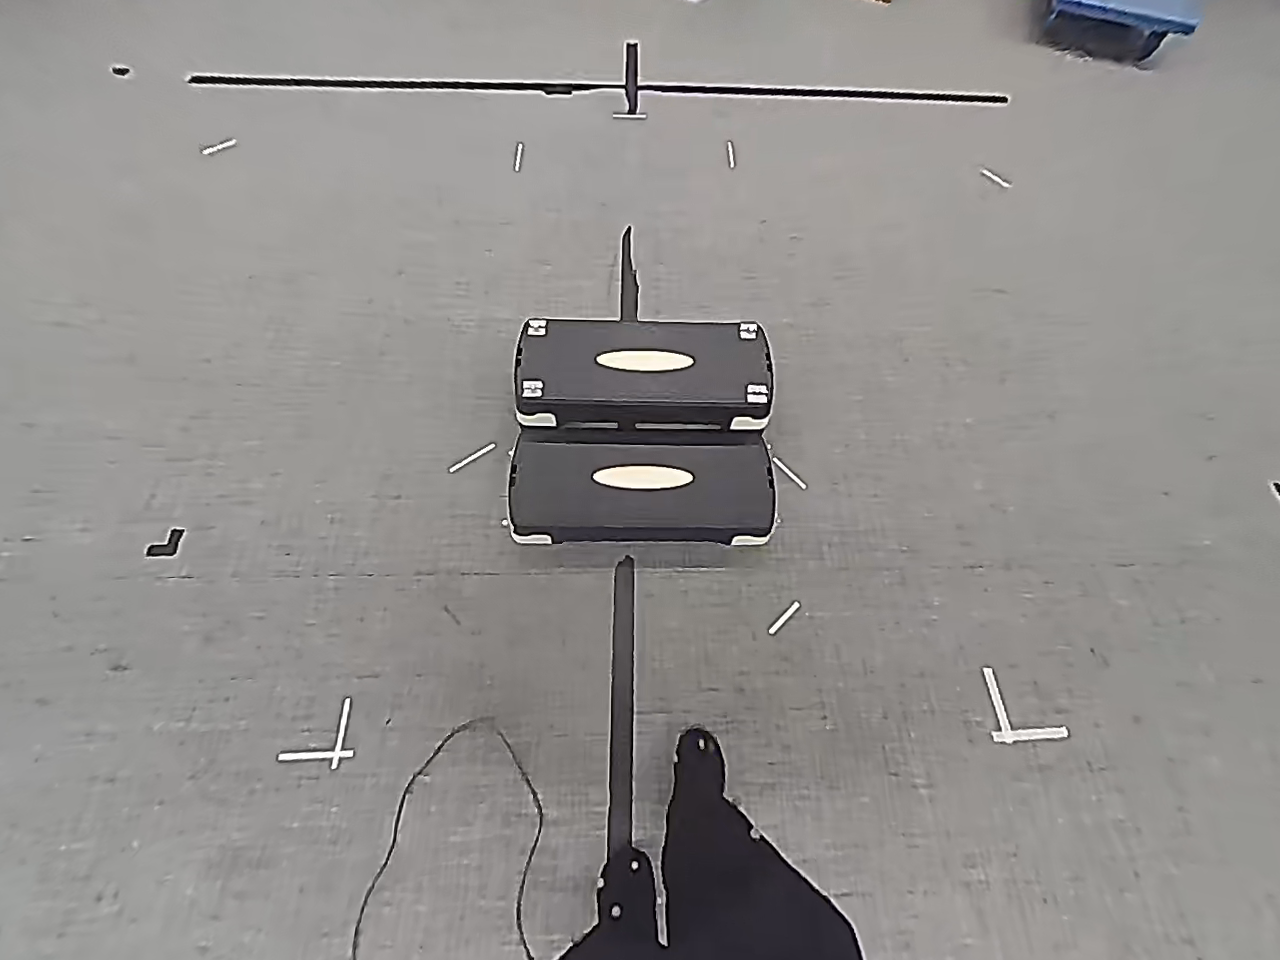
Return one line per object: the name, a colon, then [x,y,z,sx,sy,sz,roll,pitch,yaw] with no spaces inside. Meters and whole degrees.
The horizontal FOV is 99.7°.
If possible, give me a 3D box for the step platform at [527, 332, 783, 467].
step platform: [0.039,-0.222,1.484,0.684,0.204,0.286,4,62,-1]
